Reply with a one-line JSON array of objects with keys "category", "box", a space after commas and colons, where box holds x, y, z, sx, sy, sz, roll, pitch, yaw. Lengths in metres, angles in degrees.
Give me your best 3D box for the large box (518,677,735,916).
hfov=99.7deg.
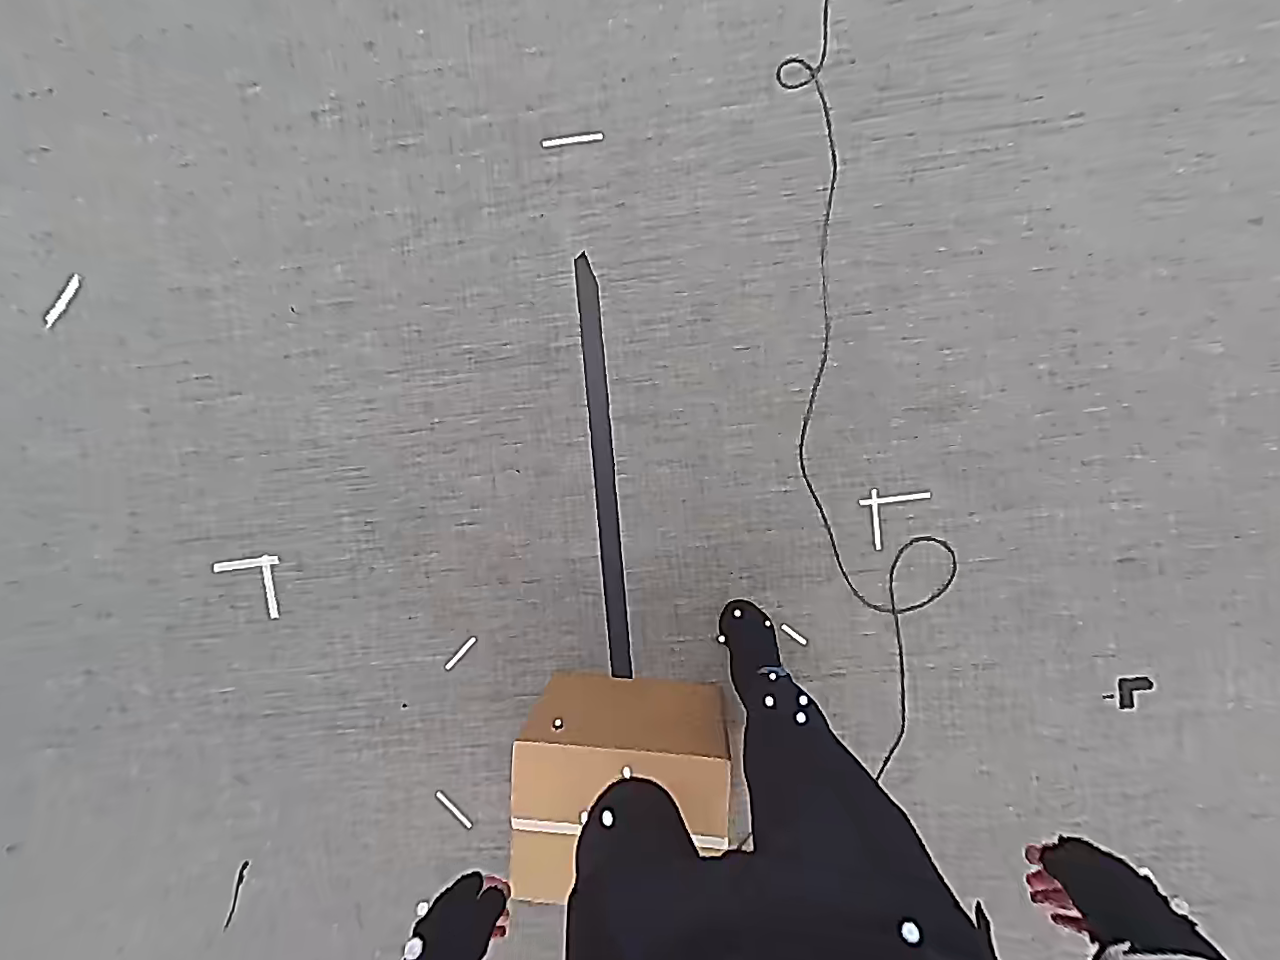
[{"category": "large box", "box": [-0.020, 0.633, 1.143, 0.408, 0.320, 0.320, 2, 94, 5]}]
